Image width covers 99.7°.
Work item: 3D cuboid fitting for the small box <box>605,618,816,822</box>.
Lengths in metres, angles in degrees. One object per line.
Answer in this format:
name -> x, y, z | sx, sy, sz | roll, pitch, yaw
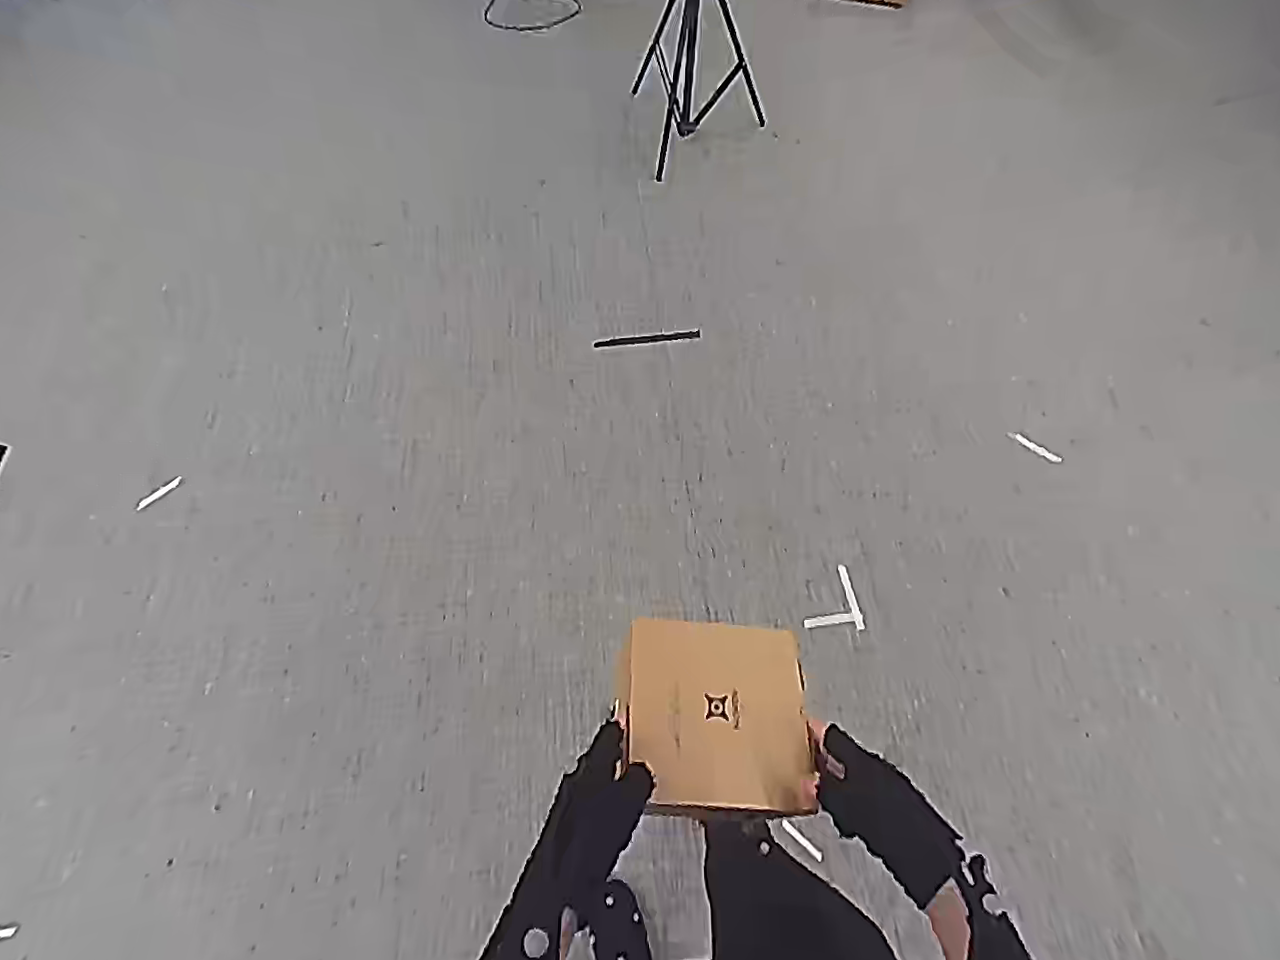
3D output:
small box -> 0.062, 0.263, 0.582 | 0.179, 0.176, 0.168 | 6, 53, -6
